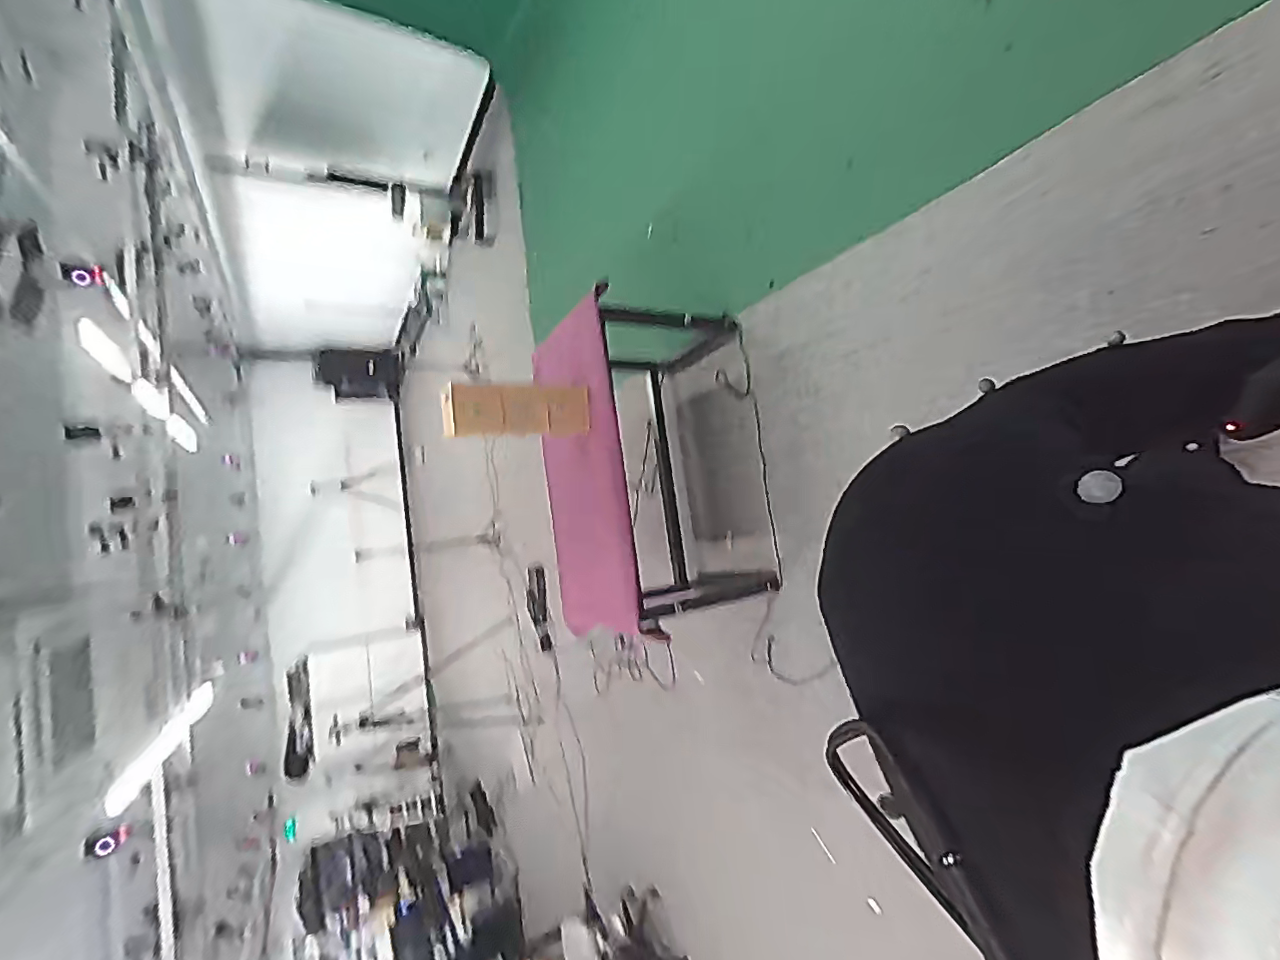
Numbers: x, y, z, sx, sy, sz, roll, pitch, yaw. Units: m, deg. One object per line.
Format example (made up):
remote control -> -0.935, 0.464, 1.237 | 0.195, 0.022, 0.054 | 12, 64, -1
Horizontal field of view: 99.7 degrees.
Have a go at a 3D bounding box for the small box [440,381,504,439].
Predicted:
small box -> -0.579, -0.238, 1.863 | 0.168, 0.176, 0.179 | -4, 92, 58

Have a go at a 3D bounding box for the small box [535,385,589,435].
small box -> -0.300, -0.263, 2.034 | 0.168, 0.176, 0.179 | 4, 98, 58

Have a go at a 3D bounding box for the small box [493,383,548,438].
small box -> -0.438, -0.250, 1.948 | 0.168, 0.176, 0.179 | -2, 94, 58
